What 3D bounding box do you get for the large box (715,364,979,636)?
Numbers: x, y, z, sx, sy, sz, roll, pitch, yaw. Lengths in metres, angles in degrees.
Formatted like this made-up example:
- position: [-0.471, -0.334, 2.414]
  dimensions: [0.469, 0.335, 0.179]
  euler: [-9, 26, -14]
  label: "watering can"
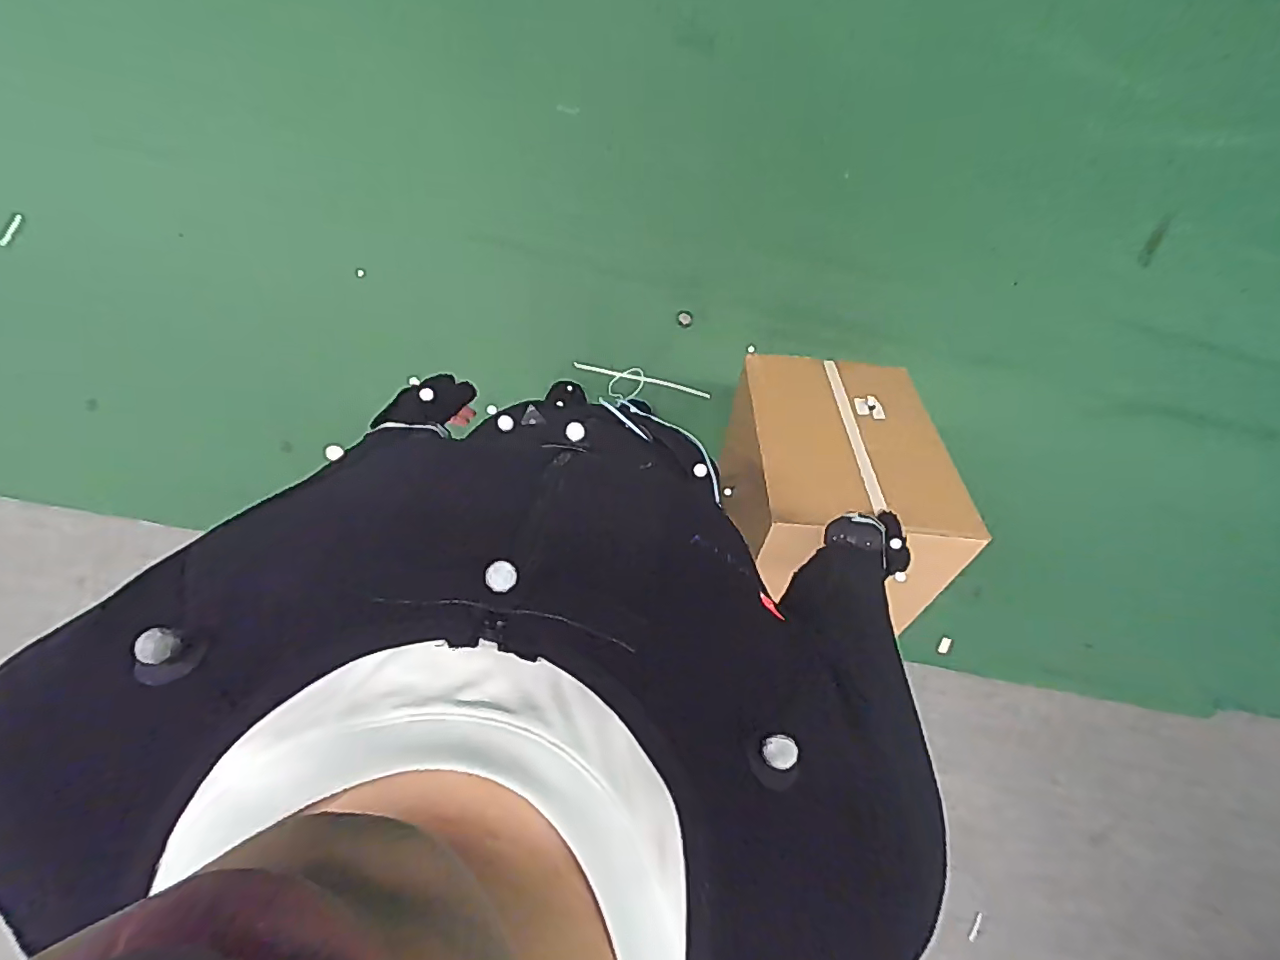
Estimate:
- position: [0.329, 0.036, 1.010]
  dimensions: [0.320, 0.408, 0.320]
  euler: [6, 136, -3]
  label: "large box"
